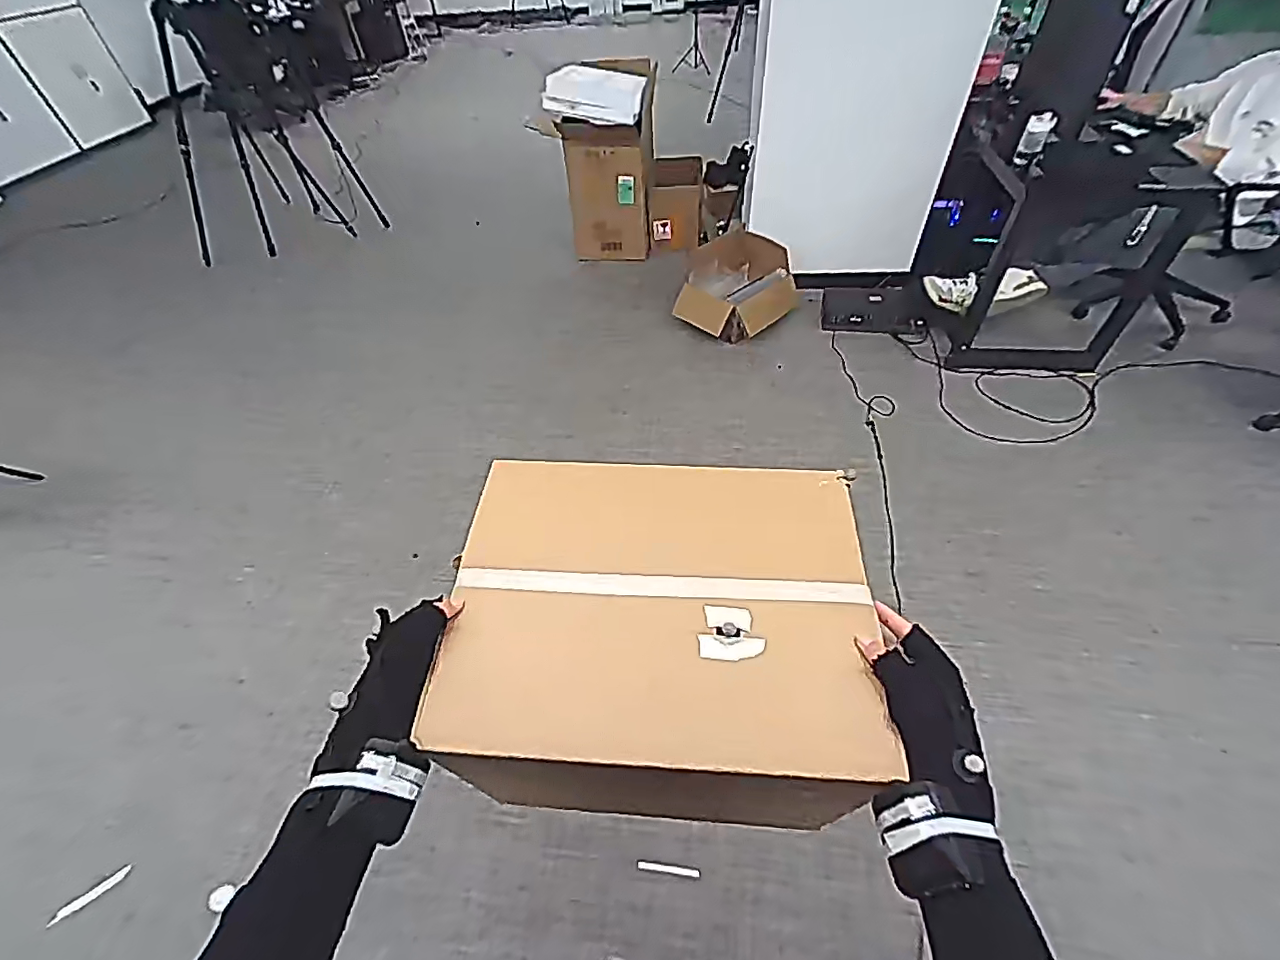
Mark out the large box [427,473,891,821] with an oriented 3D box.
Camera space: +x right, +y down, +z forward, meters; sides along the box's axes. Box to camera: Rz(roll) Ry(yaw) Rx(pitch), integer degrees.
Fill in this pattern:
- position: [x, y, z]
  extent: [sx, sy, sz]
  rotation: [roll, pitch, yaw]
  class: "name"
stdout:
- position: [0.022, 0.209, 0.662]
  extent: [0.408, 0.320, 0.320]
  rotation: [3, 53, 3]
  class: "large box"
